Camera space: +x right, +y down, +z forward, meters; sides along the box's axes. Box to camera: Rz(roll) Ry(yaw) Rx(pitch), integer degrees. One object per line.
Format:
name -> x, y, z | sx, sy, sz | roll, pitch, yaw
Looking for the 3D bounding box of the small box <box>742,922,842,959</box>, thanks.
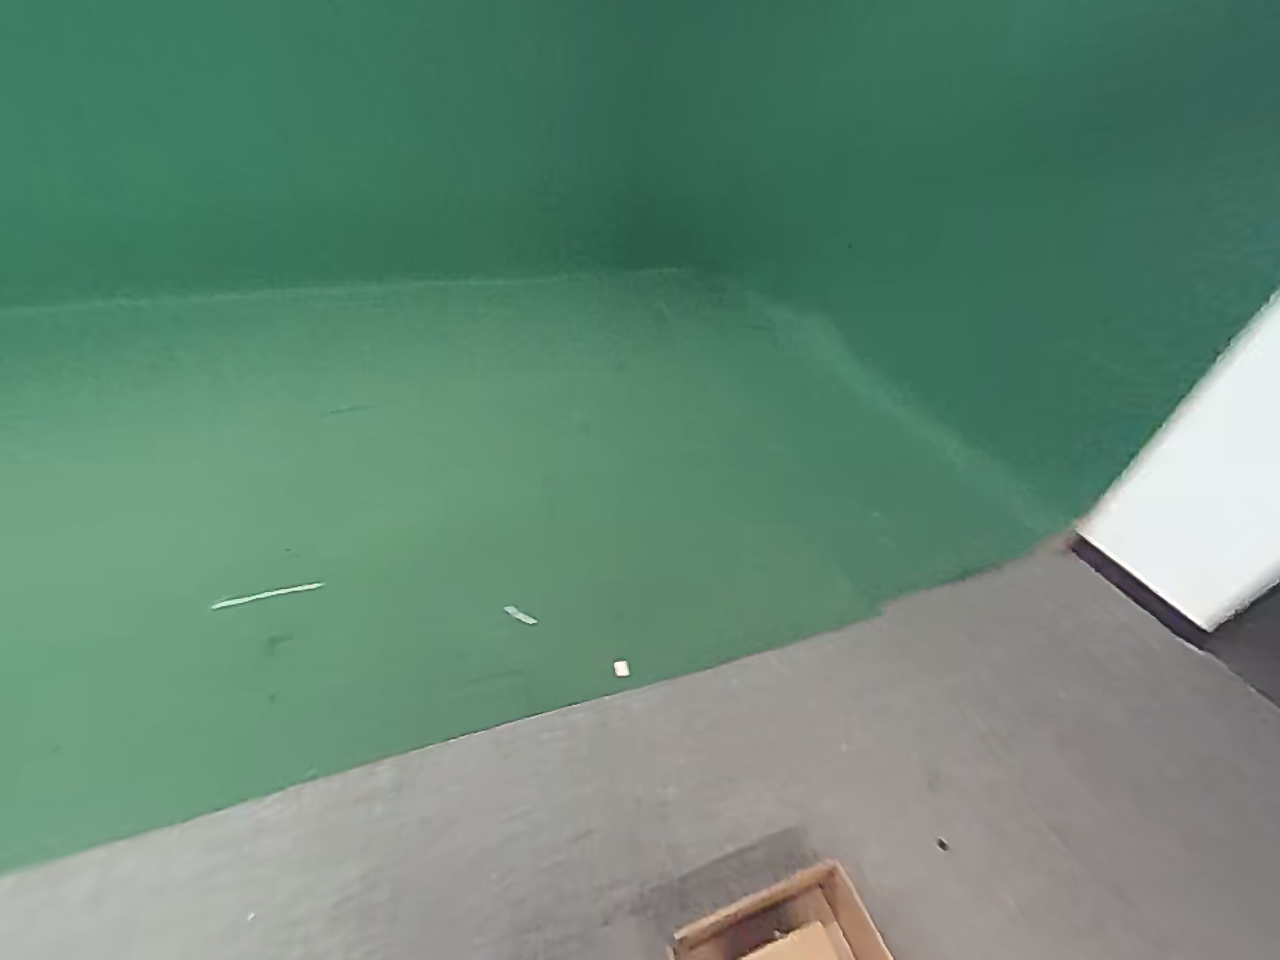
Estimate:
small box -> 0.288, 0.962, 1.000 | 0.179, 0.176, 0.168 | -10, 44, -16
